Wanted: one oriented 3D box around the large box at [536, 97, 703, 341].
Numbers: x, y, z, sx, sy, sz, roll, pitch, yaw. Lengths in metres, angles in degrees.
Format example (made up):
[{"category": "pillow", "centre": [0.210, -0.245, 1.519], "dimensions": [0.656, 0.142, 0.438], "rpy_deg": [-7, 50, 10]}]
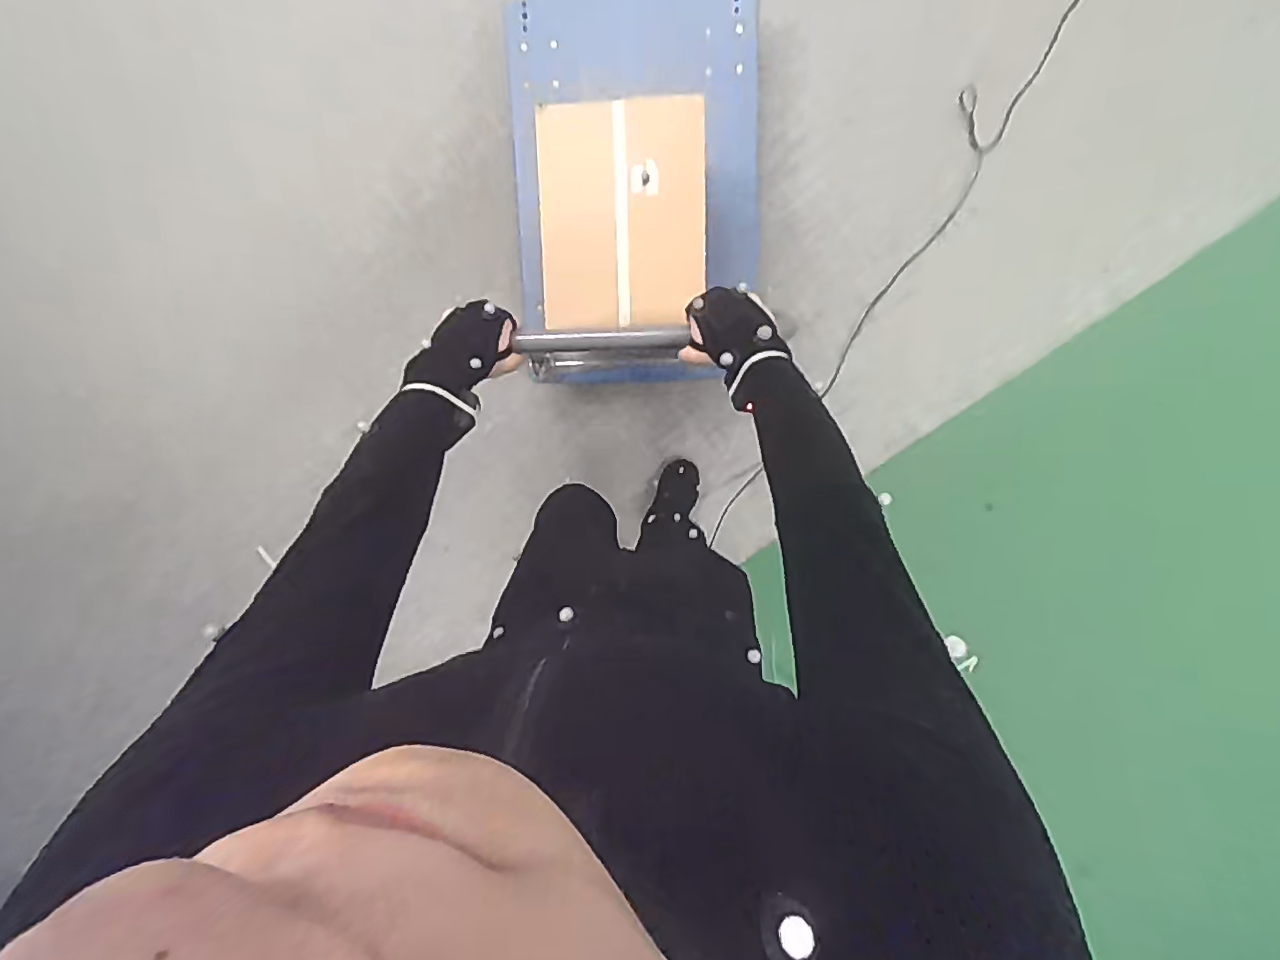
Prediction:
[{"category": "large box", "centre": [-0.025, -0.526, 1.178], "dimensions": [0.320, 0.320, 0.408], "rpy_deg": [0, 99, 4]}]
